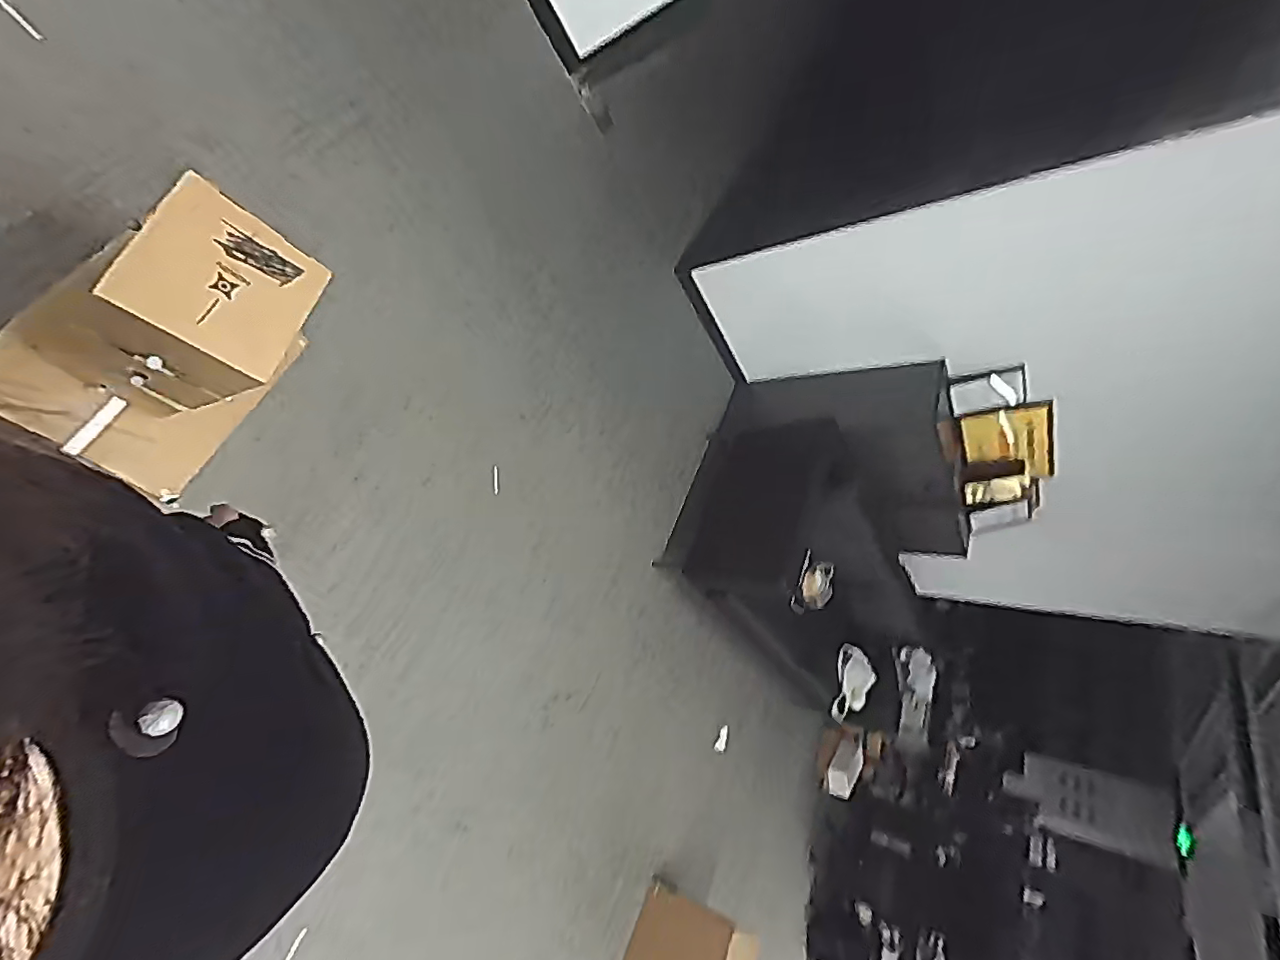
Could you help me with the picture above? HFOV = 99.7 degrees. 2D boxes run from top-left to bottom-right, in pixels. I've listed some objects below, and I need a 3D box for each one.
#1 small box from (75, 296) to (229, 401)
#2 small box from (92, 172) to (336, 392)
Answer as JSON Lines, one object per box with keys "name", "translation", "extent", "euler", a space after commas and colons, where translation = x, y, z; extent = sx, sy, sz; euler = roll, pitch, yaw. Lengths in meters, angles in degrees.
{"name": "small box", "translation": [-0.655, -0.229, 0.776], "extent": [0.168, 0.176, 0.179], "euler": [38, 62, -44]}
{"name": "small box", "translation": [-0.527, -0.230, 0.671], "extent": [0.168, 0.176, 0.179], "euler": [37, 63, -44]}
